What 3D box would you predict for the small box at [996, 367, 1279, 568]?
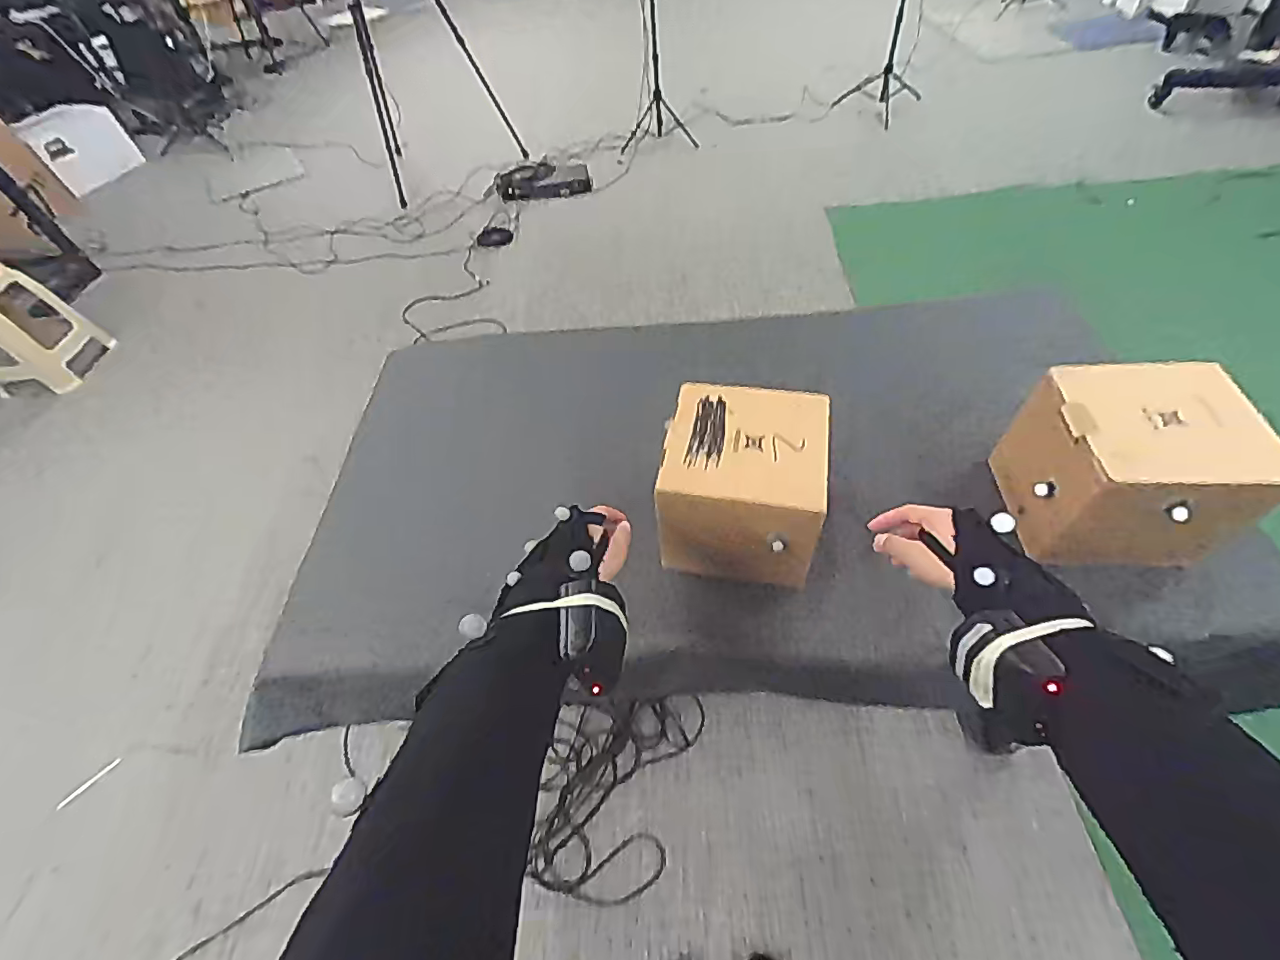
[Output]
[{"bbox_3d":[0.543,-0.010,0.620,0.179,0.176,0.168,1,54,7],"label":"small box"}]
